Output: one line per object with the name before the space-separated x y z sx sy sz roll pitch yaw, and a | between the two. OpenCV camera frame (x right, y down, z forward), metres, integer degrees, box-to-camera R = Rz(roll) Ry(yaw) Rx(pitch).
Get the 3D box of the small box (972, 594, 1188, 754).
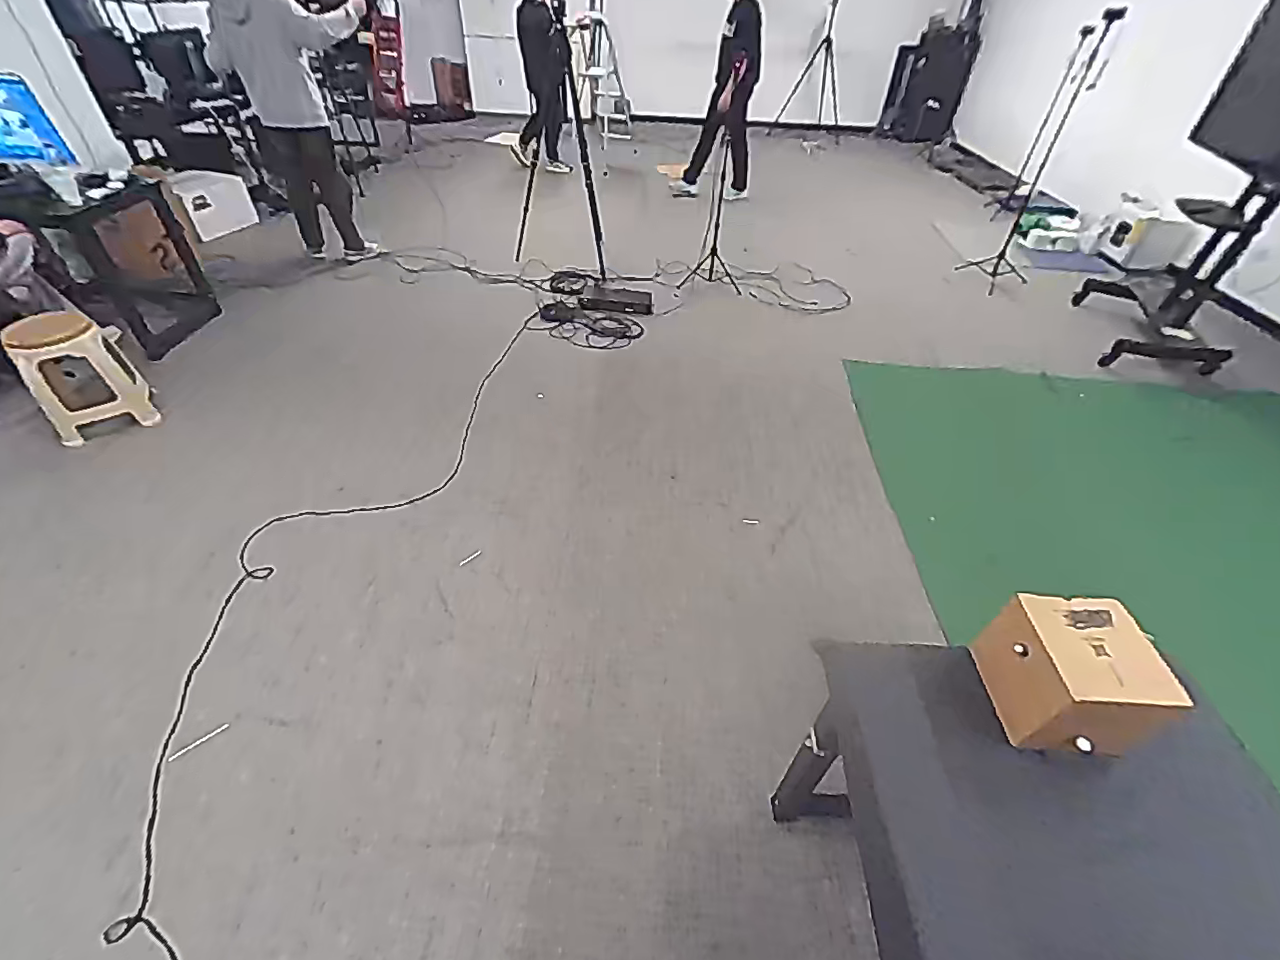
small box | 0.666 0.305 0.852 0.168 0.176 0.179 4 44 0
